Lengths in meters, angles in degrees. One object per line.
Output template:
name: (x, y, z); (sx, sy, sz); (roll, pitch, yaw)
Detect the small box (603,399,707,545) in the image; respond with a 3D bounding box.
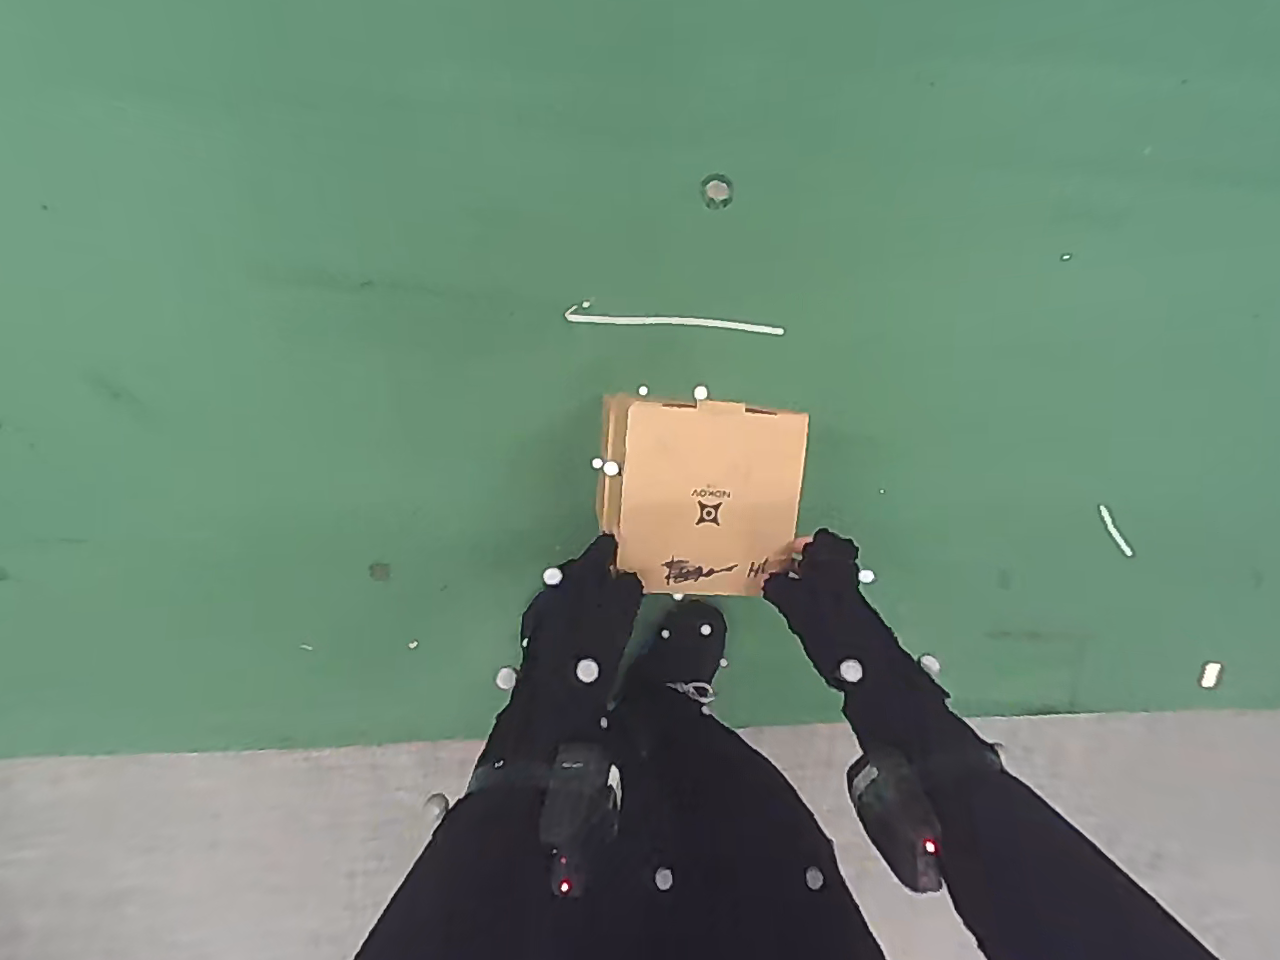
small box: (0.038, -0.016, 0.733); (0.168, 0.176, 0.179); (3, 101, -6)

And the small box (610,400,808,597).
small box: (0.058, 0.009, 0.572); (0.168, 0.176, 0.179); (4, 99, -6)
